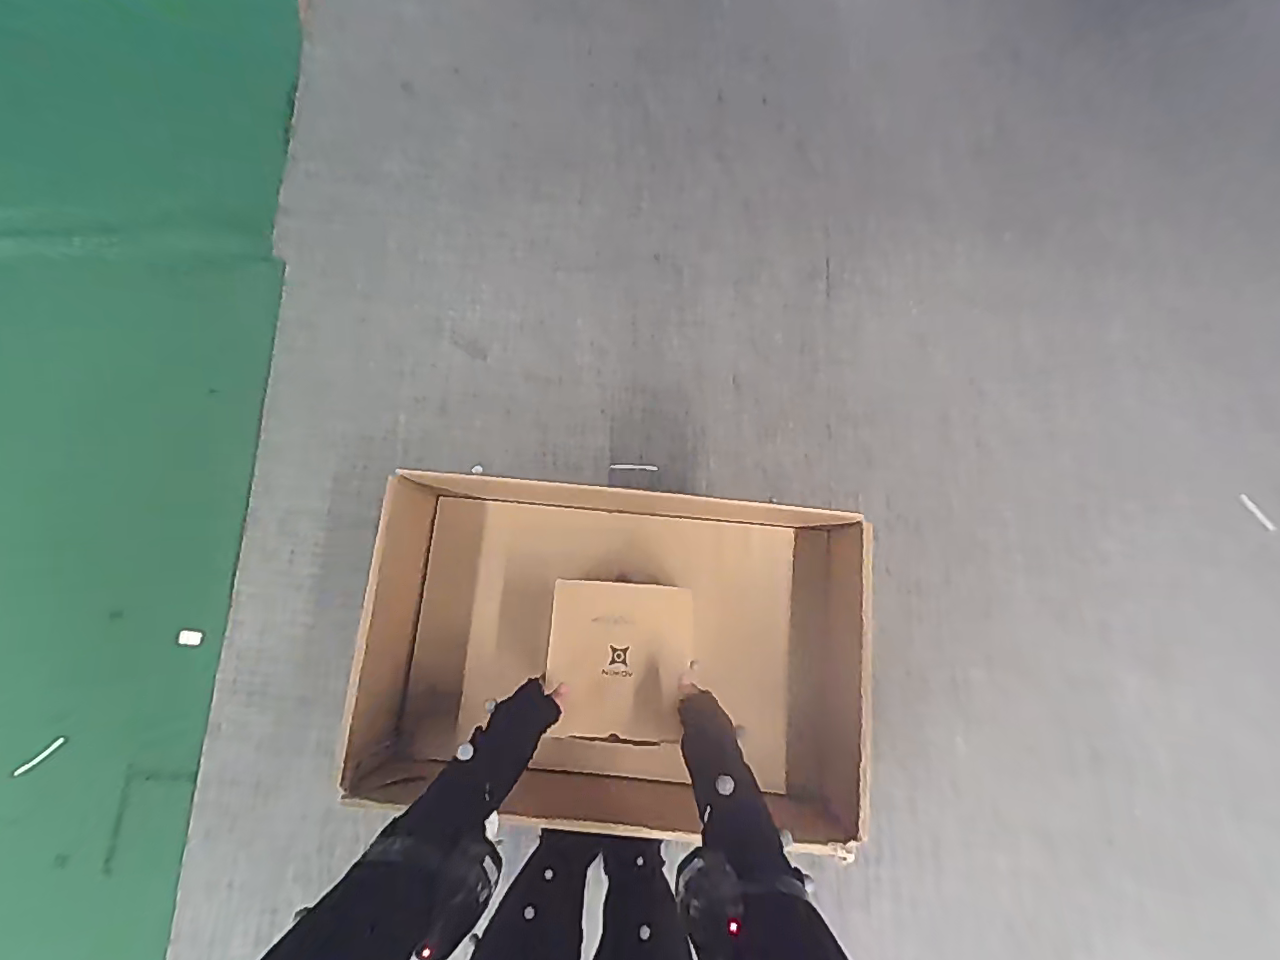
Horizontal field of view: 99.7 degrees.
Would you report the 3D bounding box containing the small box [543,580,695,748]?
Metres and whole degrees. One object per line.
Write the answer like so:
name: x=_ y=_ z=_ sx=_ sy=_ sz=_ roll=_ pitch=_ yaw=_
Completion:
small box: x=-0.021 y=0.228 z=0.699 sx=0.168 sy=0.176 sz=0.179 roll=4 pitch=75 yaw=0
